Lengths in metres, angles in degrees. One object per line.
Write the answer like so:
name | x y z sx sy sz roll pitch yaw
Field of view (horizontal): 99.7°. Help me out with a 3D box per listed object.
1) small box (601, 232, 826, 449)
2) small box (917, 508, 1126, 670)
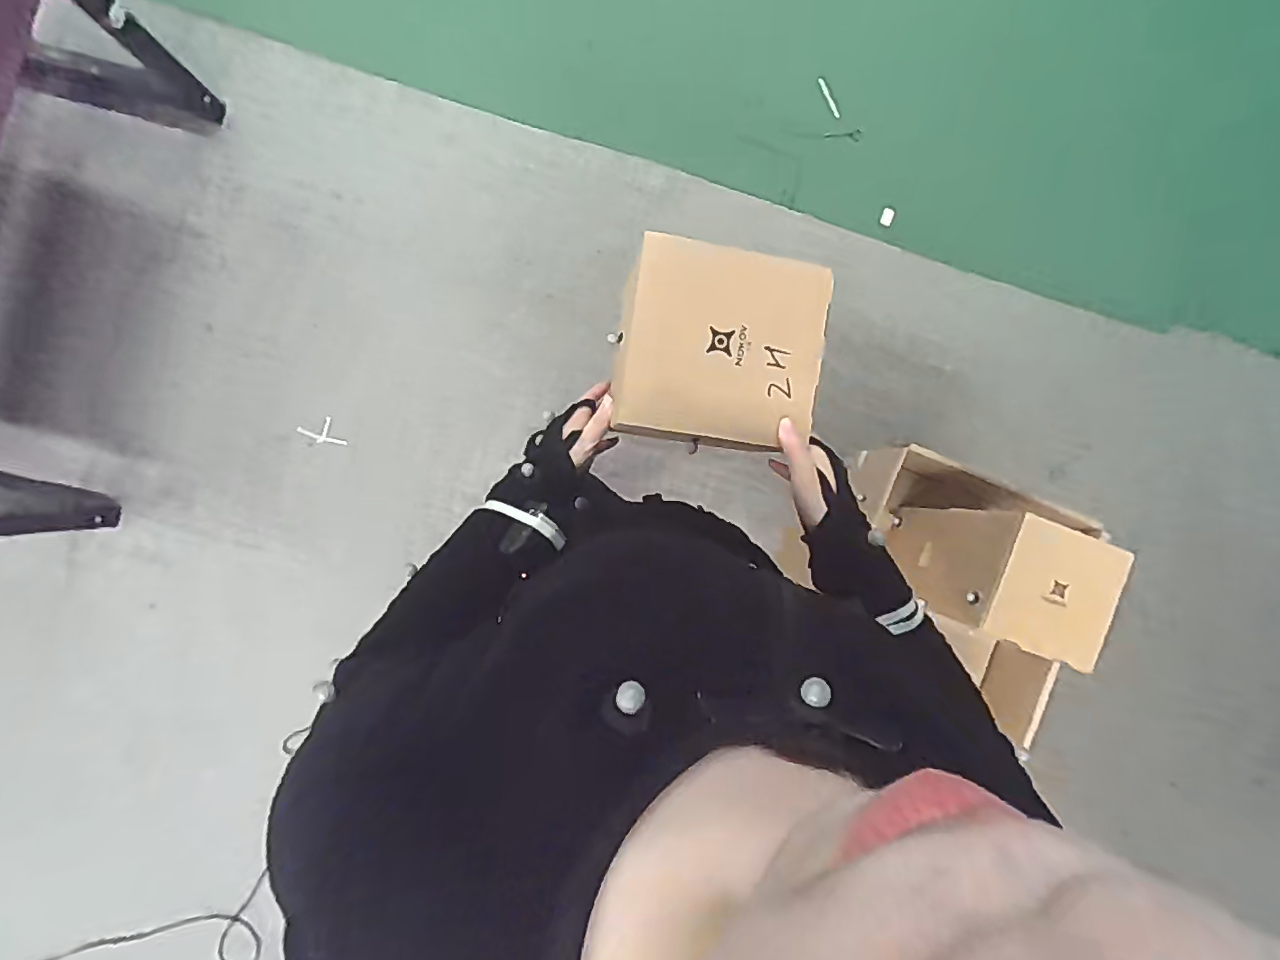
small box | 0.059 -0.123 0.550 0.179 0.176 0.168 8 93 -9
small box | 0.554 0.149 0.812 0.168 0.176 0.179 21 89 -3
